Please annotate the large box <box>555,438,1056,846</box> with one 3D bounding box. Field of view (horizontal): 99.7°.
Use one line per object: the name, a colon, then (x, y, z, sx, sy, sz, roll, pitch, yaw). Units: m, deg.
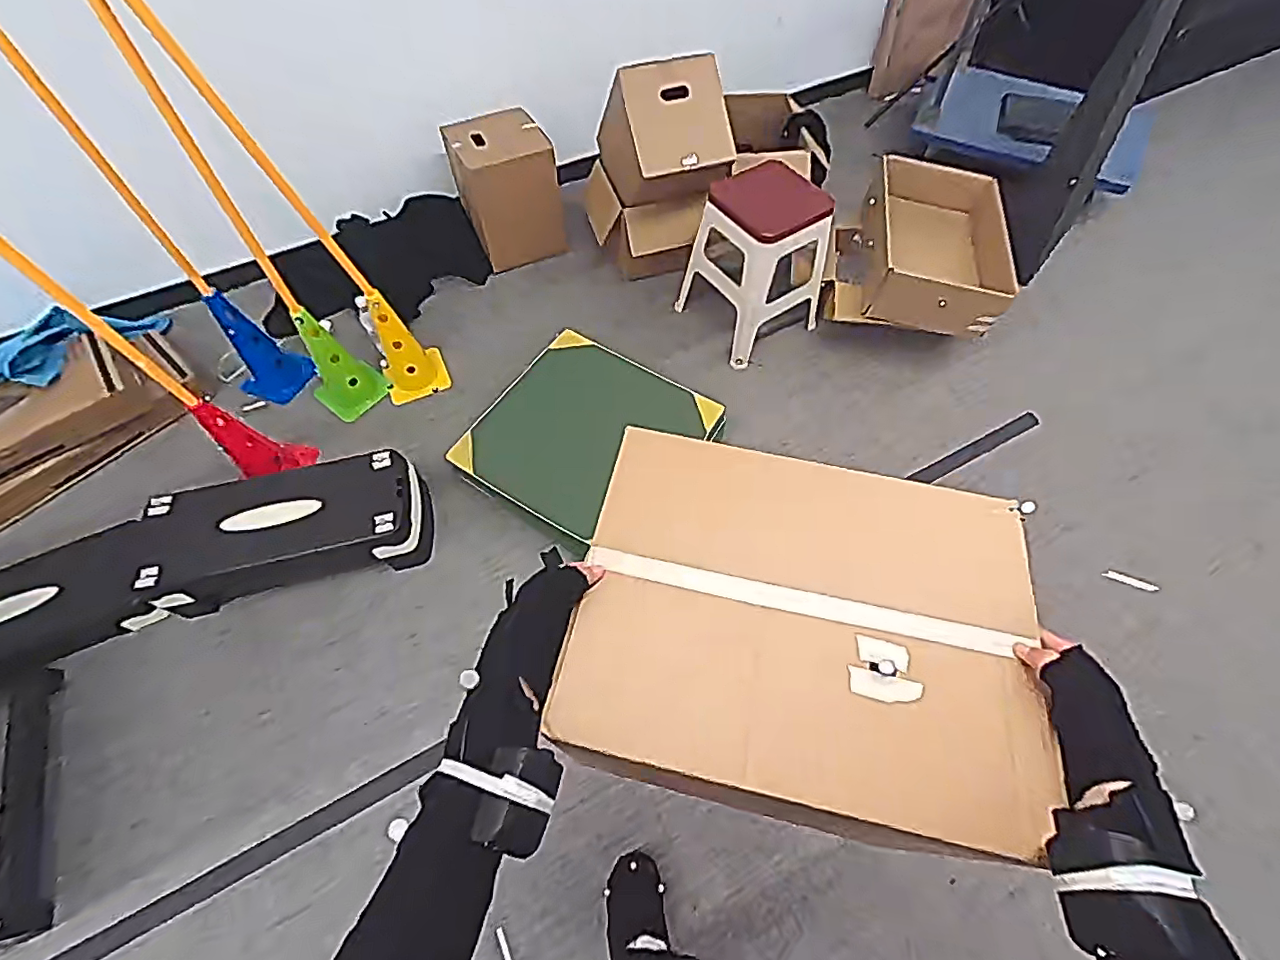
large box: (0.146, 0.192, 0.627, 0.408, 0.320, 0.320, 11, 60, 5)
